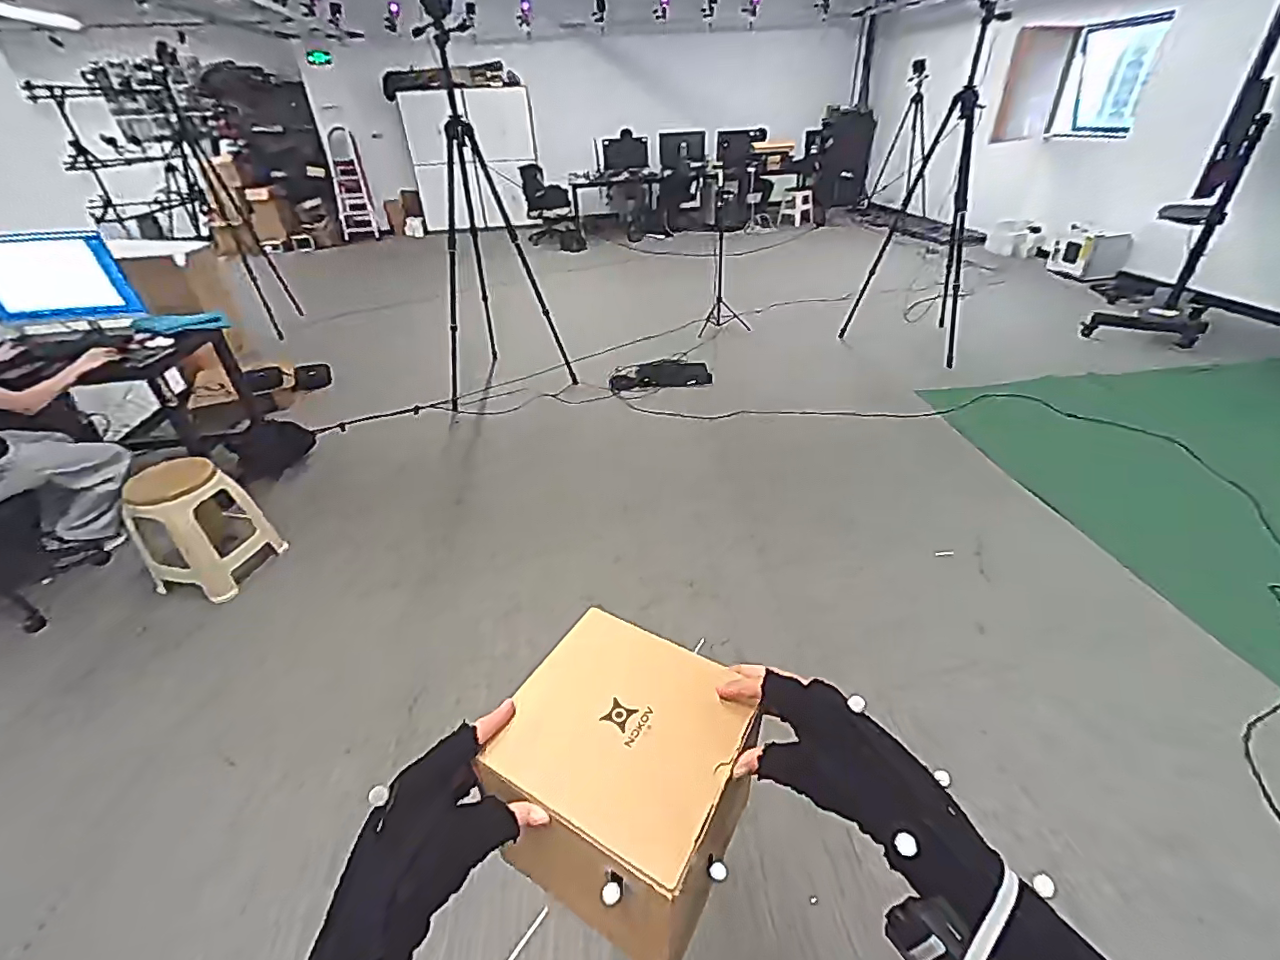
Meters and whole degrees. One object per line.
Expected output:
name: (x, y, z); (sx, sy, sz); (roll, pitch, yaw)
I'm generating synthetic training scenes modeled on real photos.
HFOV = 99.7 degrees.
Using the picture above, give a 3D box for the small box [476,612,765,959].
small box: (-0.014, 0.256, 0.470); (0.179, 0.176, 0.168); (20, 37, 25)
